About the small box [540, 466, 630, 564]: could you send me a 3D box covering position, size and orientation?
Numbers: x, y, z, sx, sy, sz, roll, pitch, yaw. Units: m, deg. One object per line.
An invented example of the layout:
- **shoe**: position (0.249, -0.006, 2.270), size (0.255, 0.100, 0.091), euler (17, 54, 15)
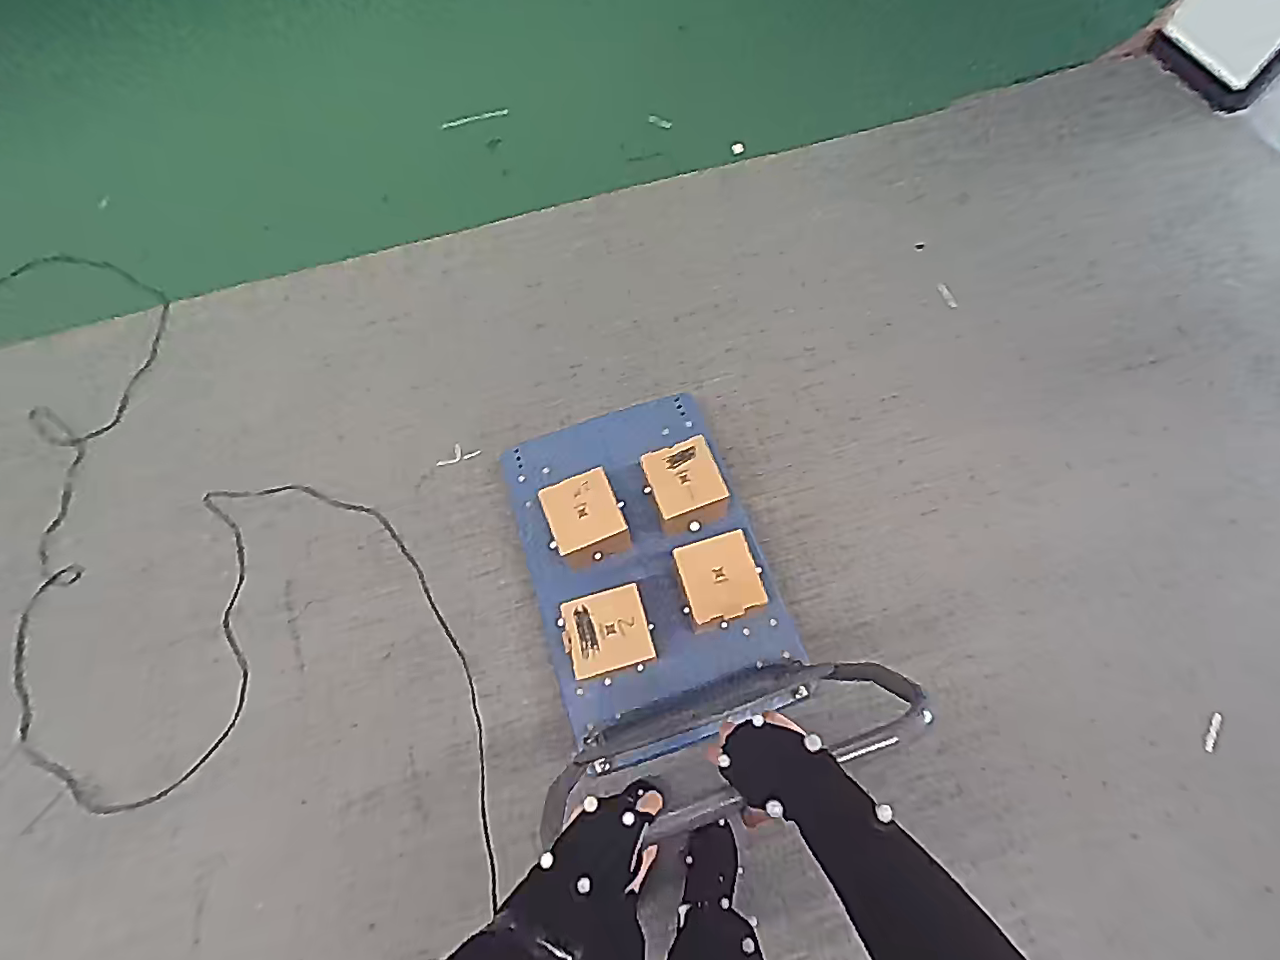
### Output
- **small box**: position (-0.129, 0.095, 1.336), size (0.168, 0.176, 0.179), euler (-21, 69, -6)

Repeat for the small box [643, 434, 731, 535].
- **small box**: position (0.112, 0.016, 1.355), size (0.168, 0.176, 0.179), euler (-20, 69, -4)

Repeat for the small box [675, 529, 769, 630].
- **small box**: position (0.181, 0.237, 1.264), size (0.168, 0.176, 0.179), euler (-16, 69, -3)
